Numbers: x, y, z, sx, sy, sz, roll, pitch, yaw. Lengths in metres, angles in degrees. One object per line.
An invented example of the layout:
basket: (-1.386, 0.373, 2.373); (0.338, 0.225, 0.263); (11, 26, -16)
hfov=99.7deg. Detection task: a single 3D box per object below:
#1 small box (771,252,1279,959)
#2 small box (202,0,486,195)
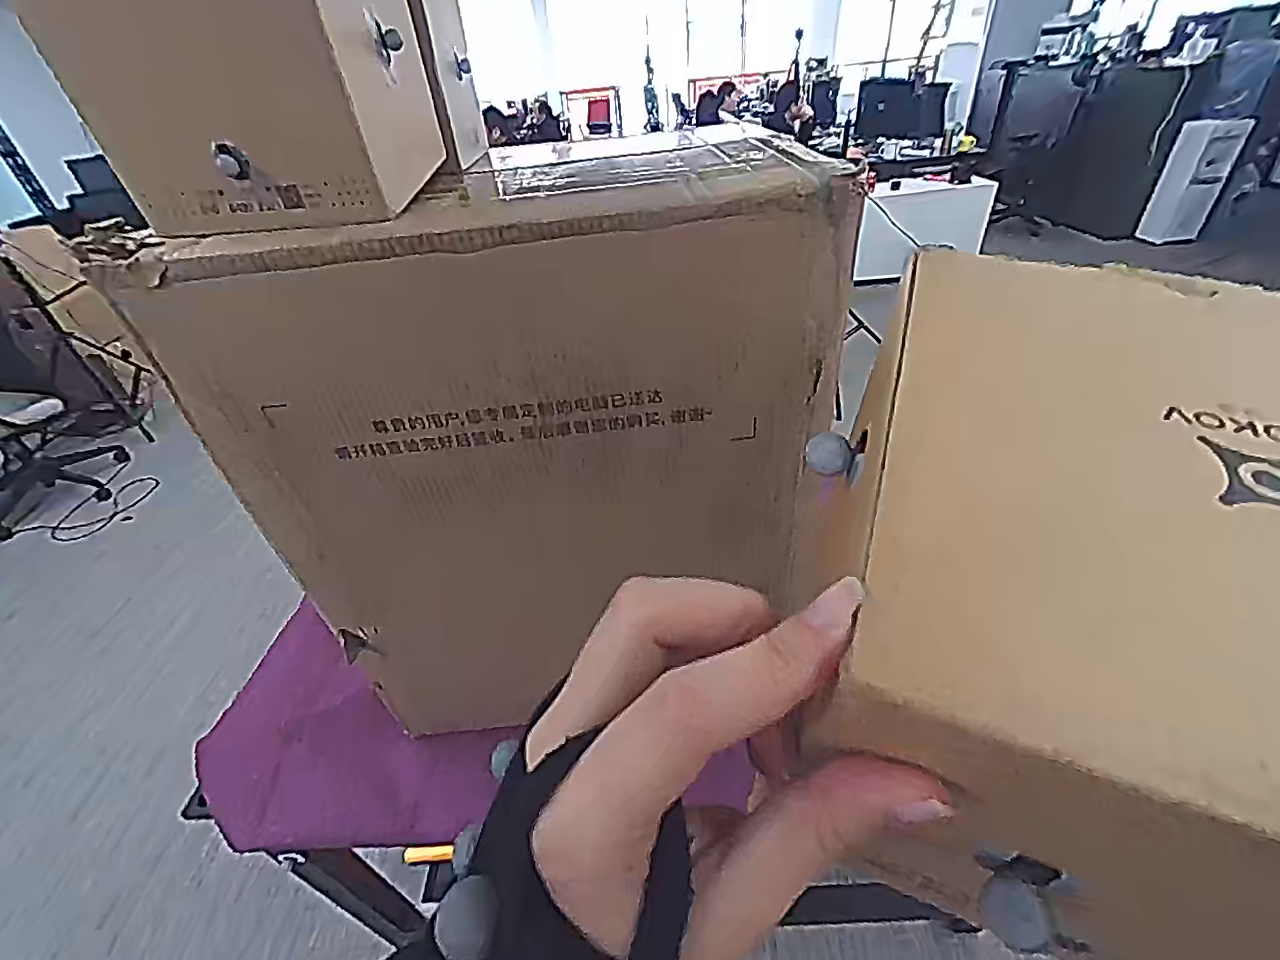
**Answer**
small box: (0.148, 0.050, 0.187); (0.168, 0.176, 0.179); (15, 52, 17)
small box: (-0.261, -0.389, 0.524); (0.179, 0.176, 0.168); (-6, 37, -1)
